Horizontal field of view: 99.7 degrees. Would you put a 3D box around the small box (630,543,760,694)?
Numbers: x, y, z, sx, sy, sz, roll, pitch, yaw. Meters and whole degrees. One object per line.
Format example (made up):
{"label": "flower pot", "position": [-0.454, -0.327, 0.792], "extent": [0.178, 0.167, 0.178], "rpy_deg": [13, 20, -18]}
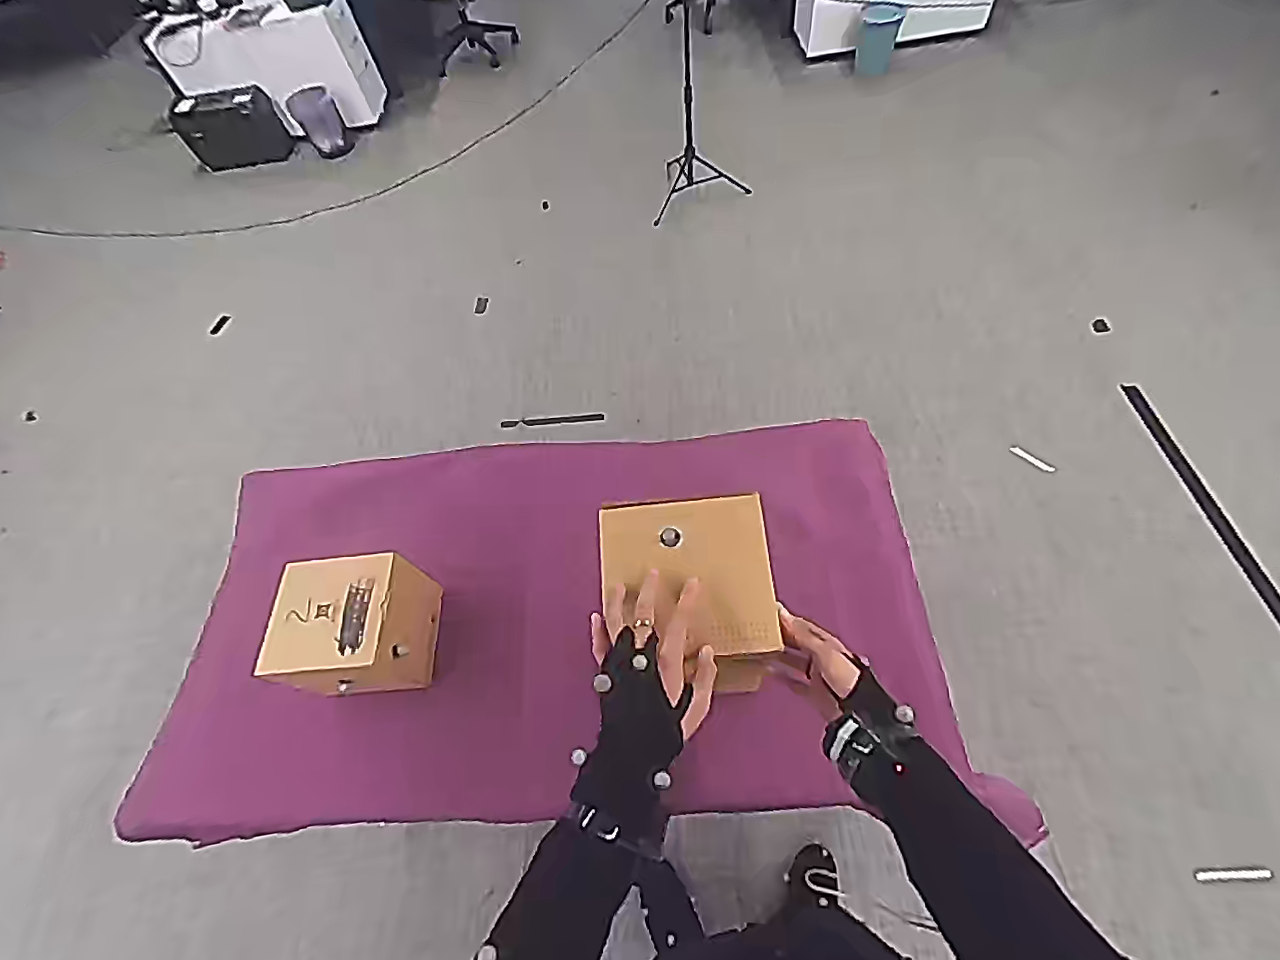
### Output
{"label": "small box", "position": [0.079, 0.209, 0.788], "extent": [0.168, 0.176, 0.179], "rpy_deg": [-5, 59, 4]}
